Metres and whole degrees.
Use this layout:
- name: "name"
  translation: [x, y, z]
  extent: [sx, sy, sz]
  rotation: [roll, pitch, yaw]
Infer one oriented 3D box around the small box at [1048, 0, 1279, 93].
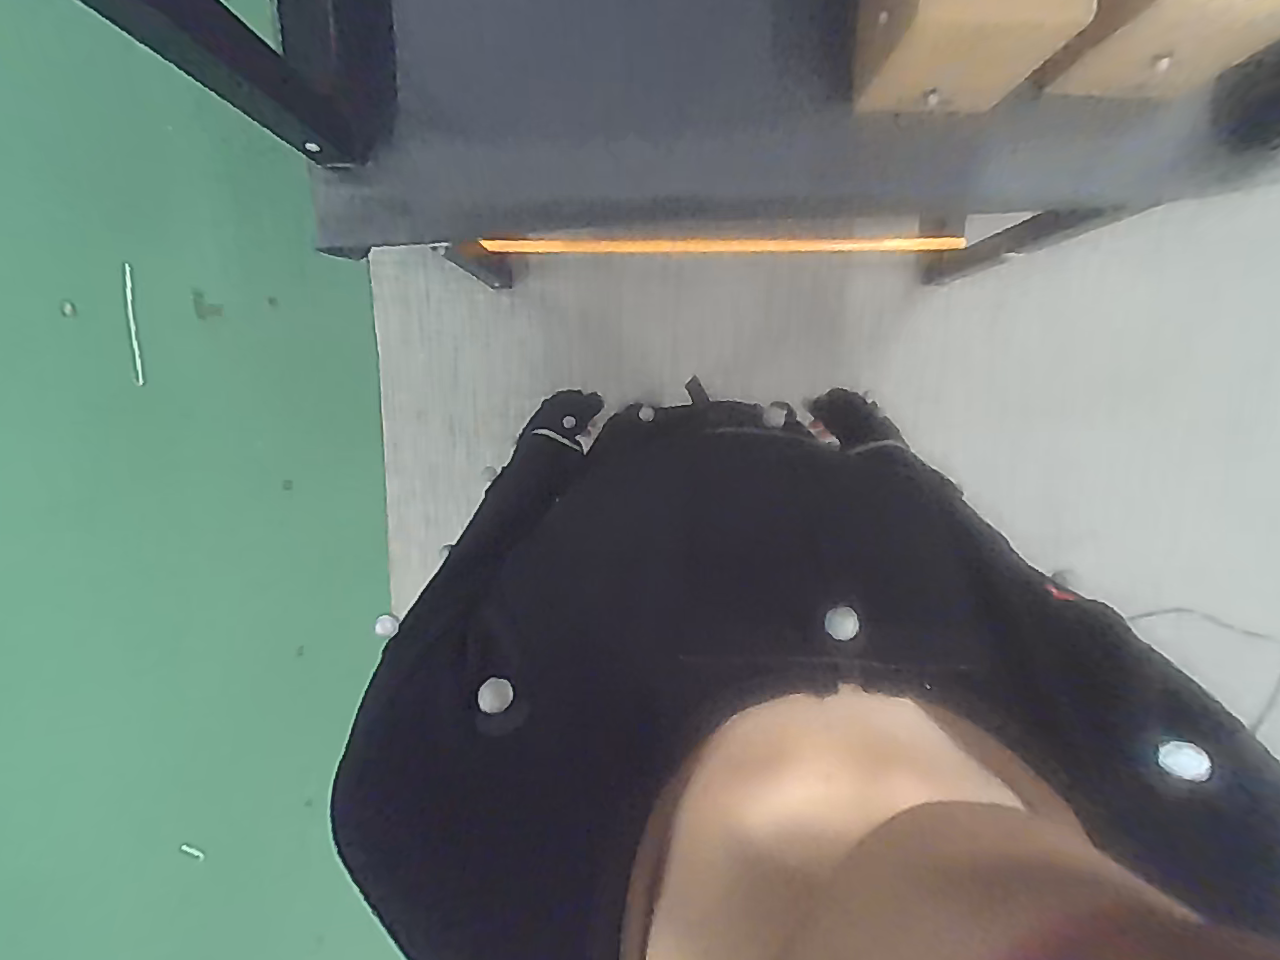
- name: "small box"
  translation: [0.574, -0.542, 0.564]
  extent: [0.168, 0.176, 0.179]
  rotation: [4, 99, 0]
